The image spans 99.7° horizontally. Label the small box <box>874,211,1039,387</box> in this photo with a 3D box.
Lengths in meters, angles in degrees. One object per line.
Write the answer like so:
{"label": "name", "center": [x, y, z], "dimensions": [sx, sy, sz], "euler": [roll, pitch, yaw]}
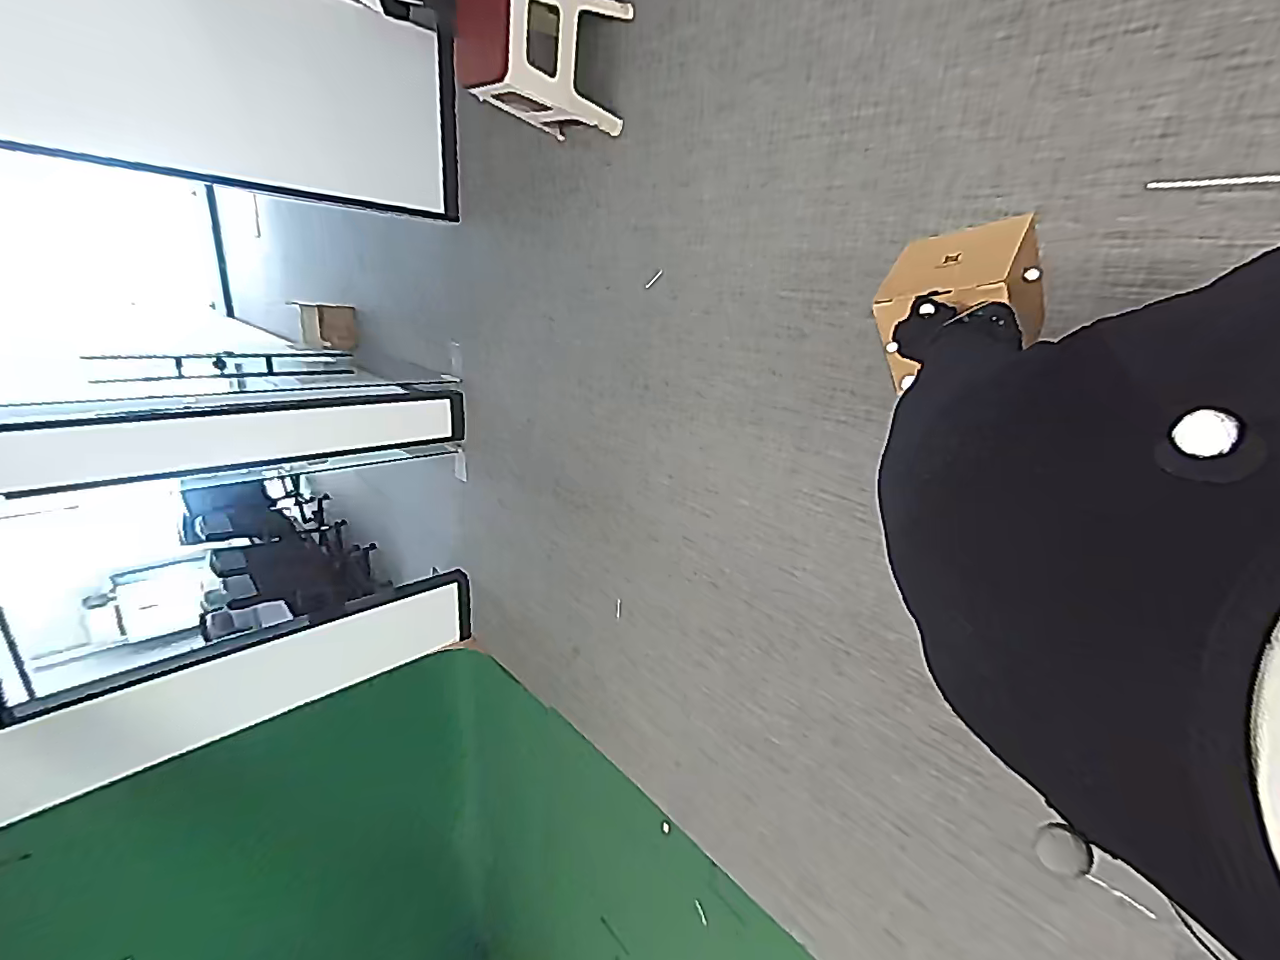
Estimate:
{"label": "small box", "center": [0.476, -0.260, 0.804], "dimensions": [0.168, 0.179, 0.176], "euler": [5, 139, 46]}
